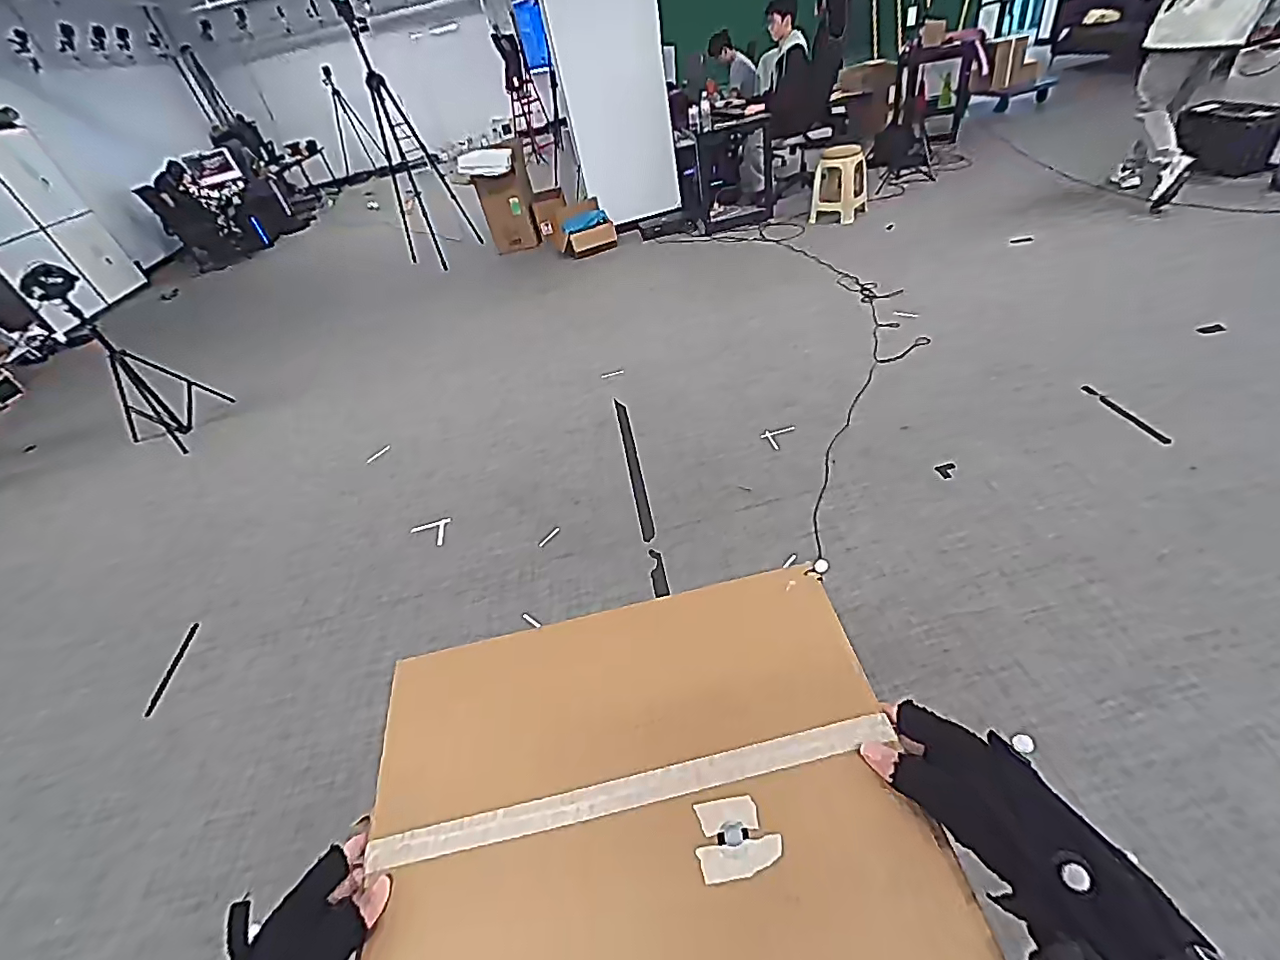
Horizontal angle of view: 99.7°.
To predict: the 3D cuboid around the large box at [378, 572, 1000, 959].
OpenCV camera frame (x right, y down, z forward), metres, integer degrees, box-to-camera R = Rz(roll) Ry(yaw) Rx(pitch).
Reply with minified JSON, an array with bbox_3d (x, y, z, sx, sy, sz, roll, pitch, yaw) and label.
[{"bbox_3d":[0.020,0.344,0.526,0.408,0.320,0.320,-13,47,-2],"label":"large box"}]
